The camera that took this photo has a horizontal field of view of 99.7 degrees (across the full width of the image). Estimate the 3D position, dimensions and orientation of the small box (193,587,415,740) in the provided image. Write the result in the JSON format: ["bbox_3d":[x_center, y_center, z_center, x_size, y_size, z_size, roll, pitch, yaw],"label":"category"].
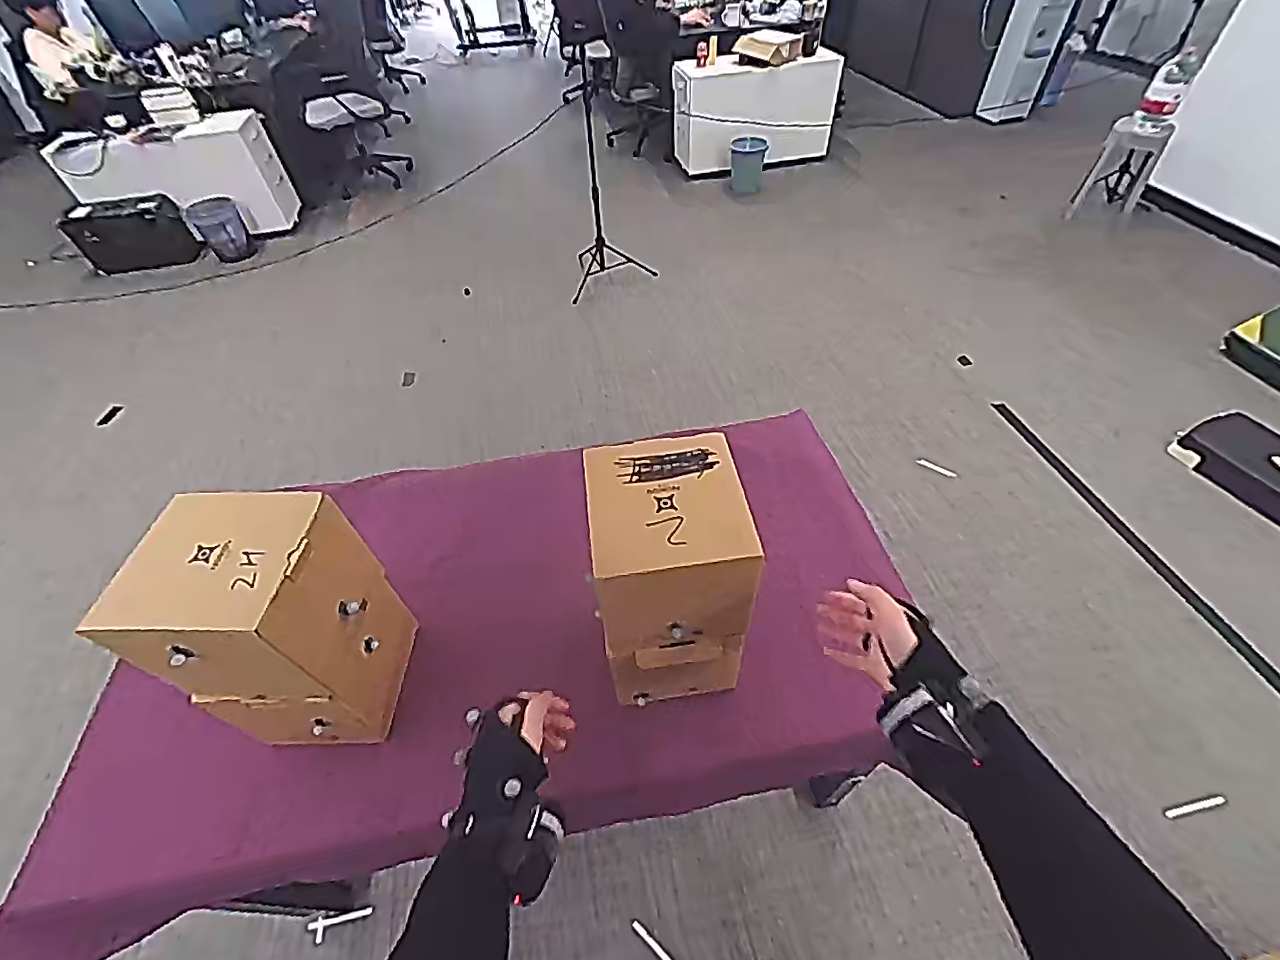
[{"bbox_3d":[-0.428,0.240,0.730,0.168,0.176,0.179,-1,49,1],"label":"small box"}]

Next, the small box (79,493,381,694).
[{"bbox_3d":[-0.429,0.130,0.607,0.179,0.176,0.168,0,50,2],"label":"small box"}]

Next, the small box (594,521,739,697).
[{"bbox_3d":[0.033,0.183,0.747,0.168,0.176,0.179,-8,48,-3],"label":"small box"}]
